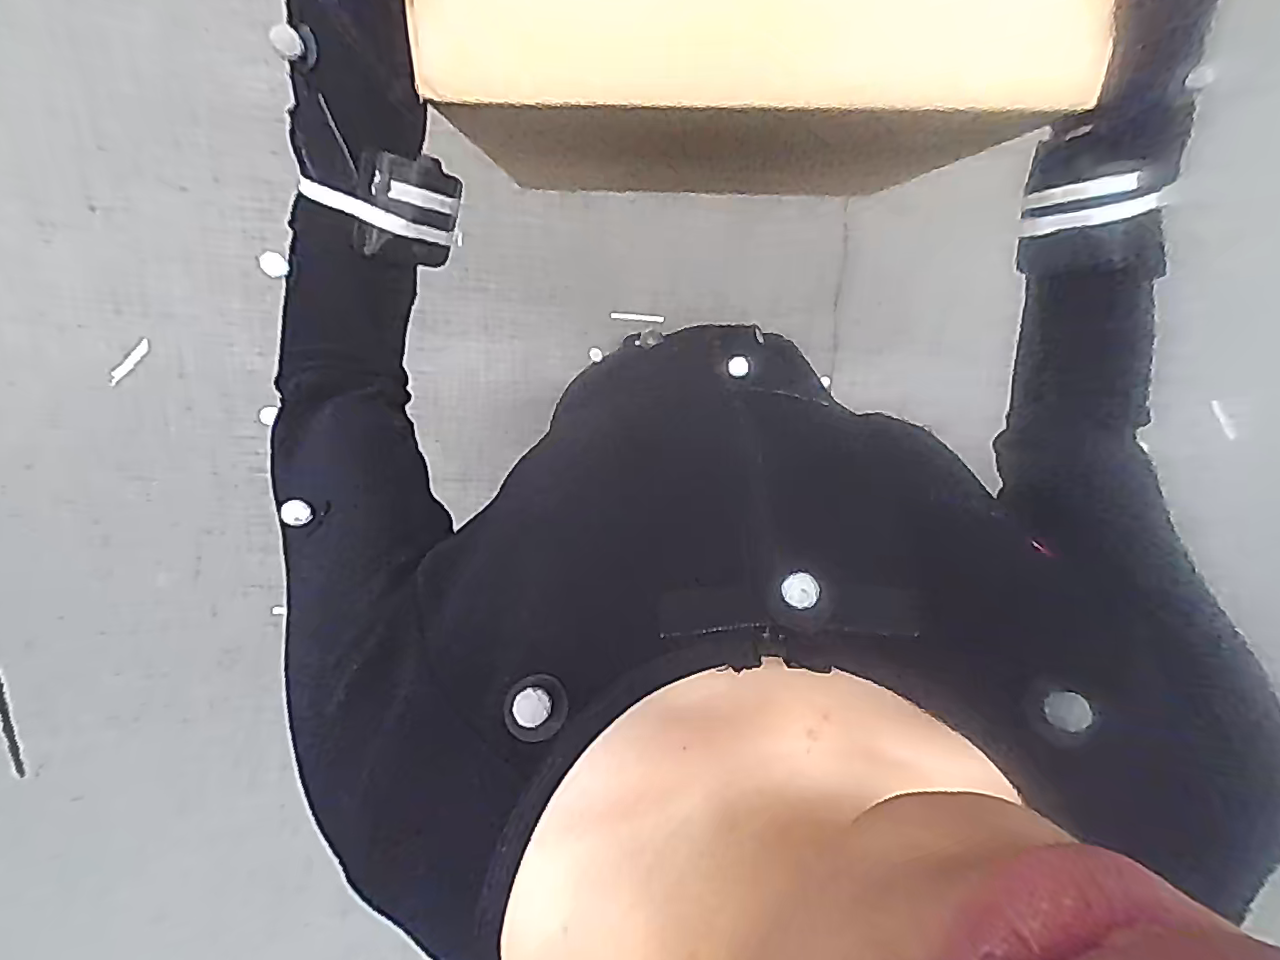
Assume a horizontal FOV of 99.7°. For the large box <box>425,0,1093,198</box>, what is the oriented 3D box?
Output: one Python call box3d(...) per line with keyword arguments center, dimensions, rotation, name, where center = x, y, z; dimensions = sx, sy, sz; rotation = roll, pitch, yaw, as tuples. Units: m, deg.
box3d(center=(0.066, -0.425, 0.429), dimensions=(0.408, 0.320, 0.320), rotation=(0, 109, -1), name="large box")
